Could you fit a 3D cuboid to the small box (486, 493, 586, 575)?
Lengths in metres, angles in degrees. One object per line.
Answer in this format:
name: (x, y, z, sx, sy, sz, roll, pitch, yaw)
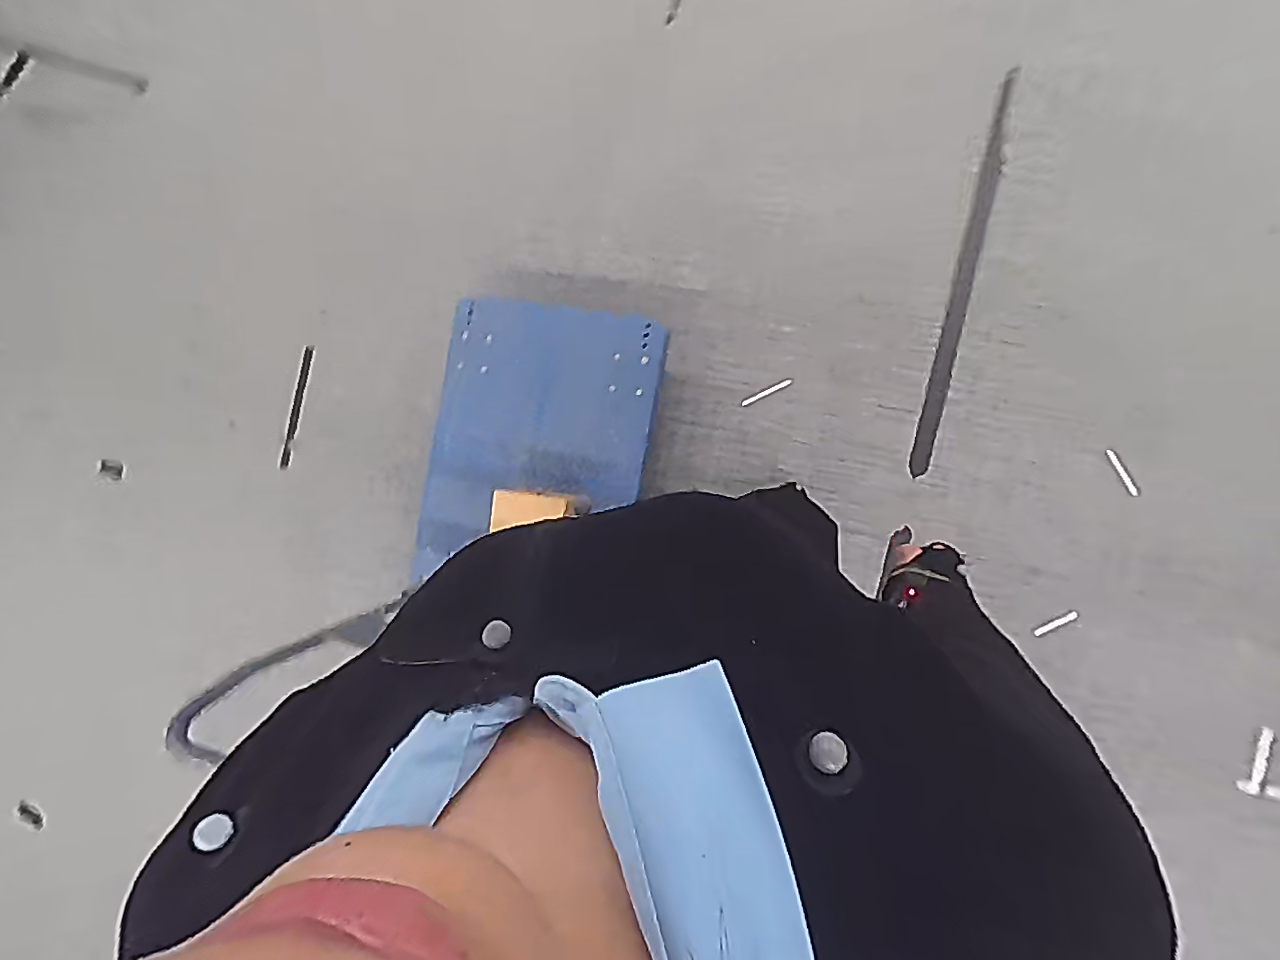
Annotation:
small box: (-0.244, 0.123, 1.295, 0.179, 0.176, 0.168, 6, 90, 11)
